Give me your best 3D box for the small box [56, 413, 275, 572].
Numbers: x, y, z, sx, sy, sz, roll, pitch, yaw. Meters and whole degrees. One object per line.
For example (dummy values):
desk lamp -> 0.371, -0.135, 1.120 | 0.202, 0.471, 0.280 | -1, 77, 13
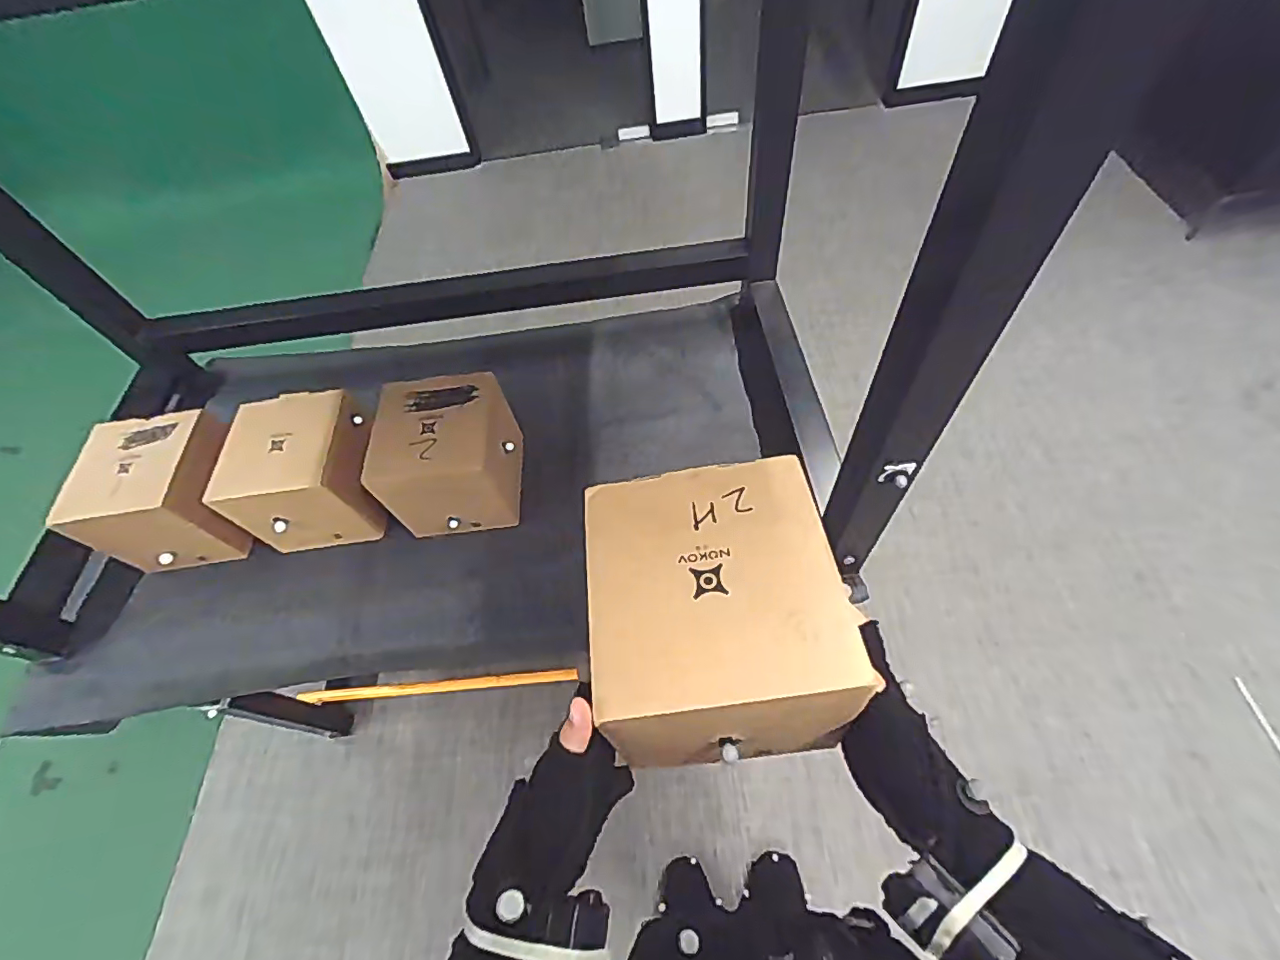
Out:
small box -> -0.714, 0.024, 0.843 | 0.168, 0.176, 0.179 | -9, 57, 2
